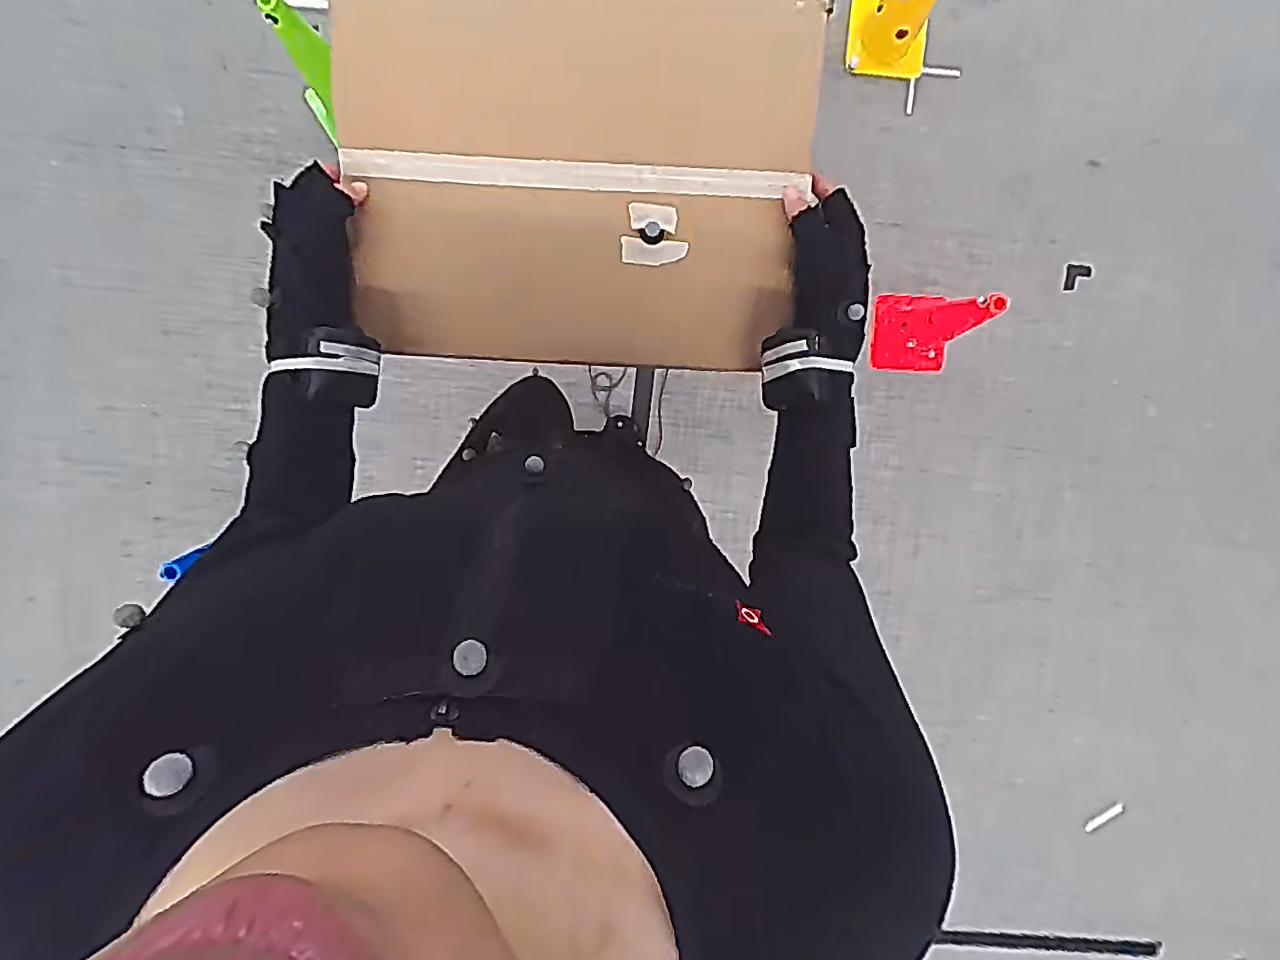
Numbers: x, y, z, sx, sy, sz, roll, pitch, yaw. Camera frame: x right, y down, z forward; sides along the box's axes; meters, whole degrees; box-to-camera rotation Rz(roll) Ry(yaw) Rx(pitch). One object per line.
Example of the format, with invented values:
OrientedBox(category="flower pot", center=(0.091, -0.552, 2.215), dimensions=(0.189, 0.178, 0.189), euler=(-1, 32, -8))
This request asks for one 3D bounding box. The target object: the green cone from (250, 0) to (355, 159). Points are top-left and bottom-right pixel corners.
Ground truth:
OrientedBox(category="green cone", center=(-0.706, -0.924, 1.186), dimensions=(0.202, 0.368, 0.200), euler=(-32, 95, 3))

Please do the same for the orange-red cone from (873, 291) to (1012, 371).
OrientedBox(category="orange-red cone", center=(0.731, -0.384, 1.274), dimensions=(0.198, 0.360, 0.199), euler=(3, 94, -3))

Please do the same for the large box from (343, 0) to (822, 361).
OrientedBox(category="large box", center=(-0.056, -0.301, 0.618), dimensions=(0.408, 0.320, 0.320), euler=(2, 102, -2))
